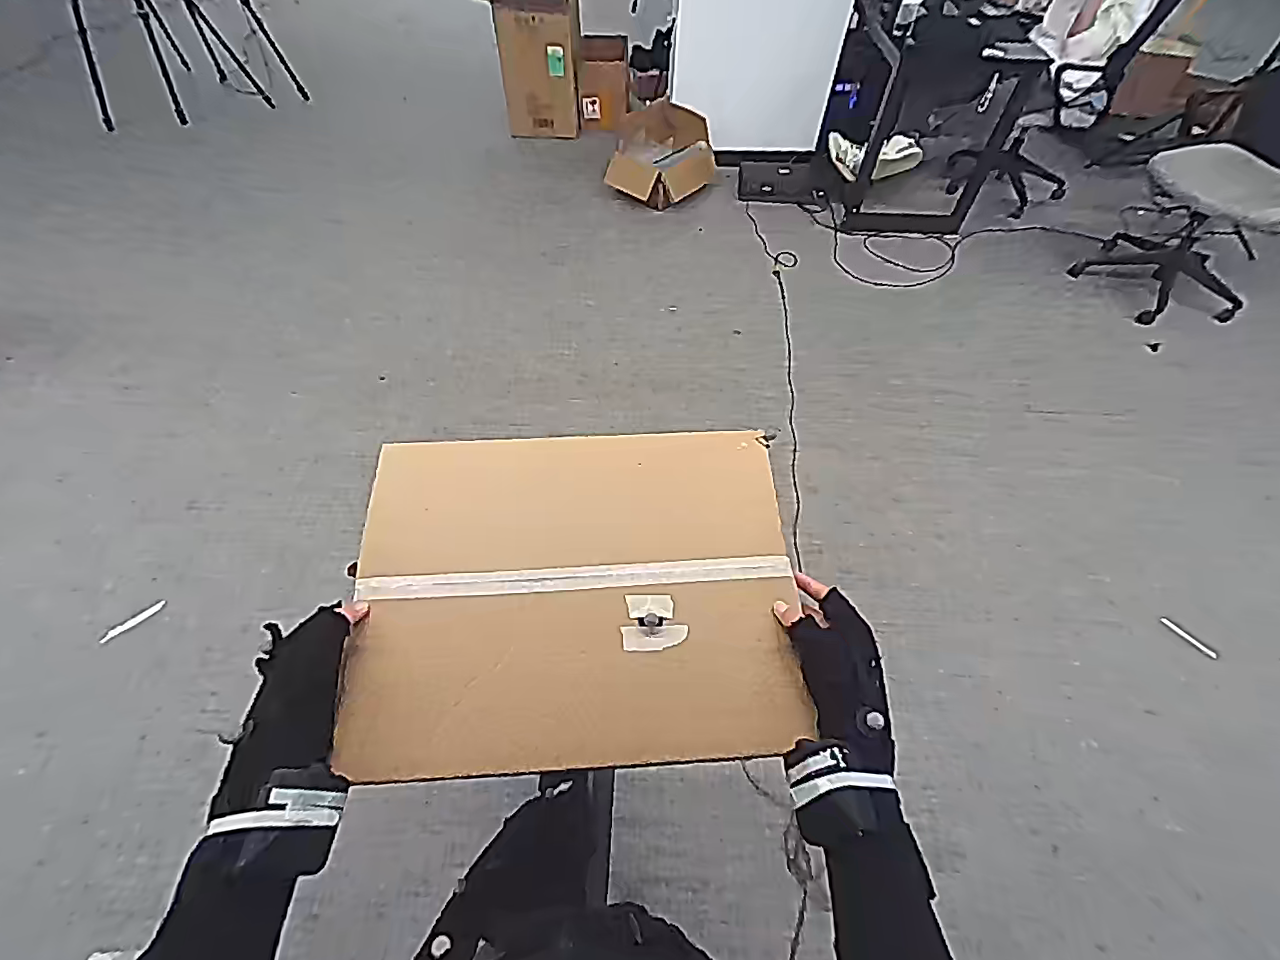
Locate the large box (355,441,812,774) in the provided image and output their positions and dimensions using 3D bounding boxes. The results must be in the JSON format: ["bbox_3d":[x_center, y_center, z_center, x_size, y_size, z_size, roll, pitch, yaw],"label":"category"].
[{"bbox_3d":[-0.060,0.168,0.663,0.408,0.320,0.320,-2,63,-3],"label":"large box"}]
